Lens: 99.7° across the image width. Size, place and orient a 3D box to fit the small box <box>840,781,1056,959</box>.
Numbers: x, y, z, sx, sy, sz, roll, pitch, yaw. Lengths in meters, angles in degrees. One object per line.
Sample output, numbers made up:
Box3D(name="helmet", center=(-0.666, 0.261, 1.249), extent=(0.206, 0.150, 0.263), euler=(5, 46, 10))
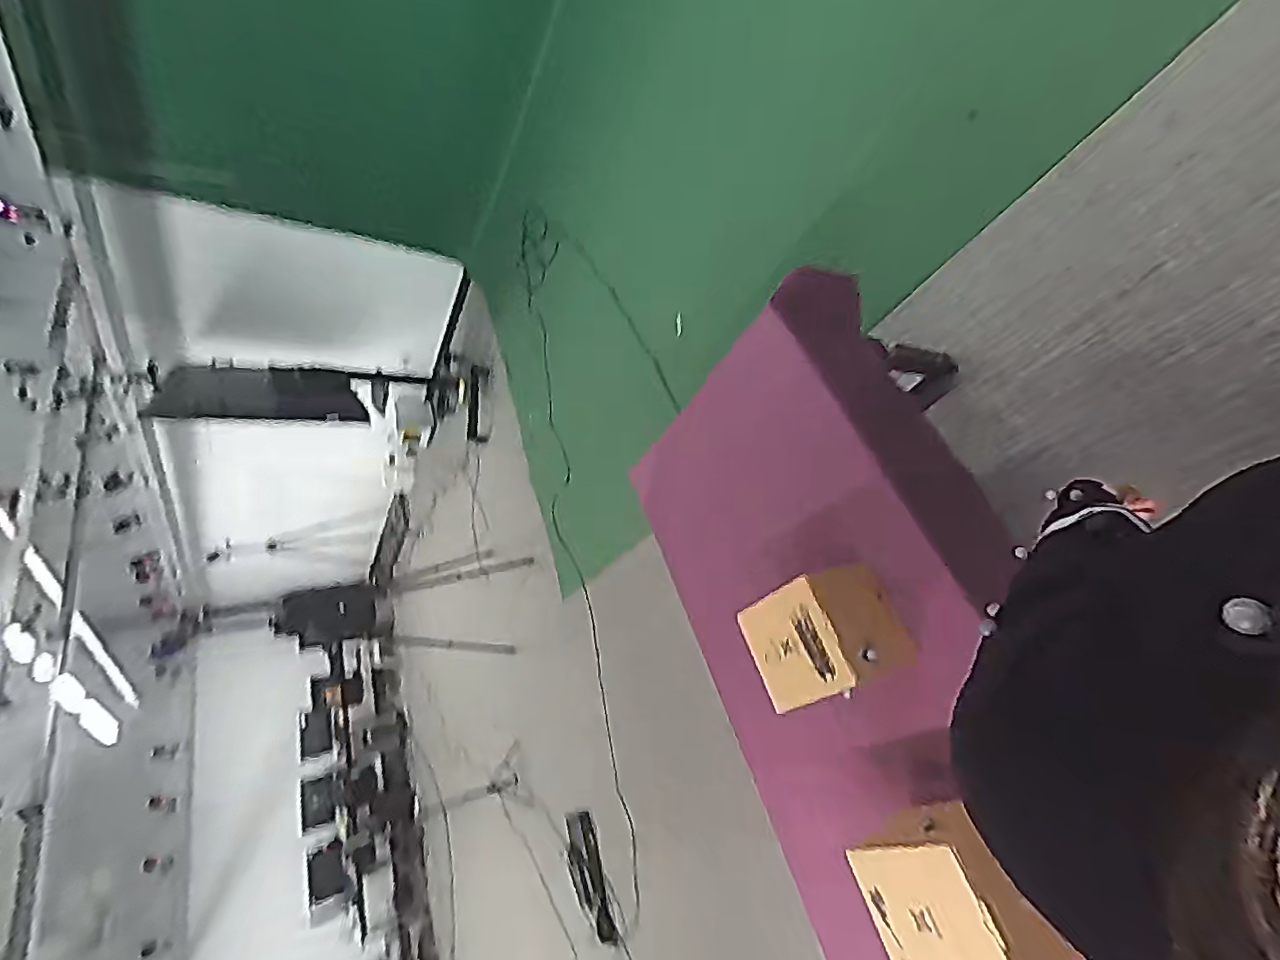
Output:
Box3D(name="small box", center=(0.421, 0.532, 0.736), extent=(0.179, 0.176, 0.168), euler=(-47, 55, 44))
